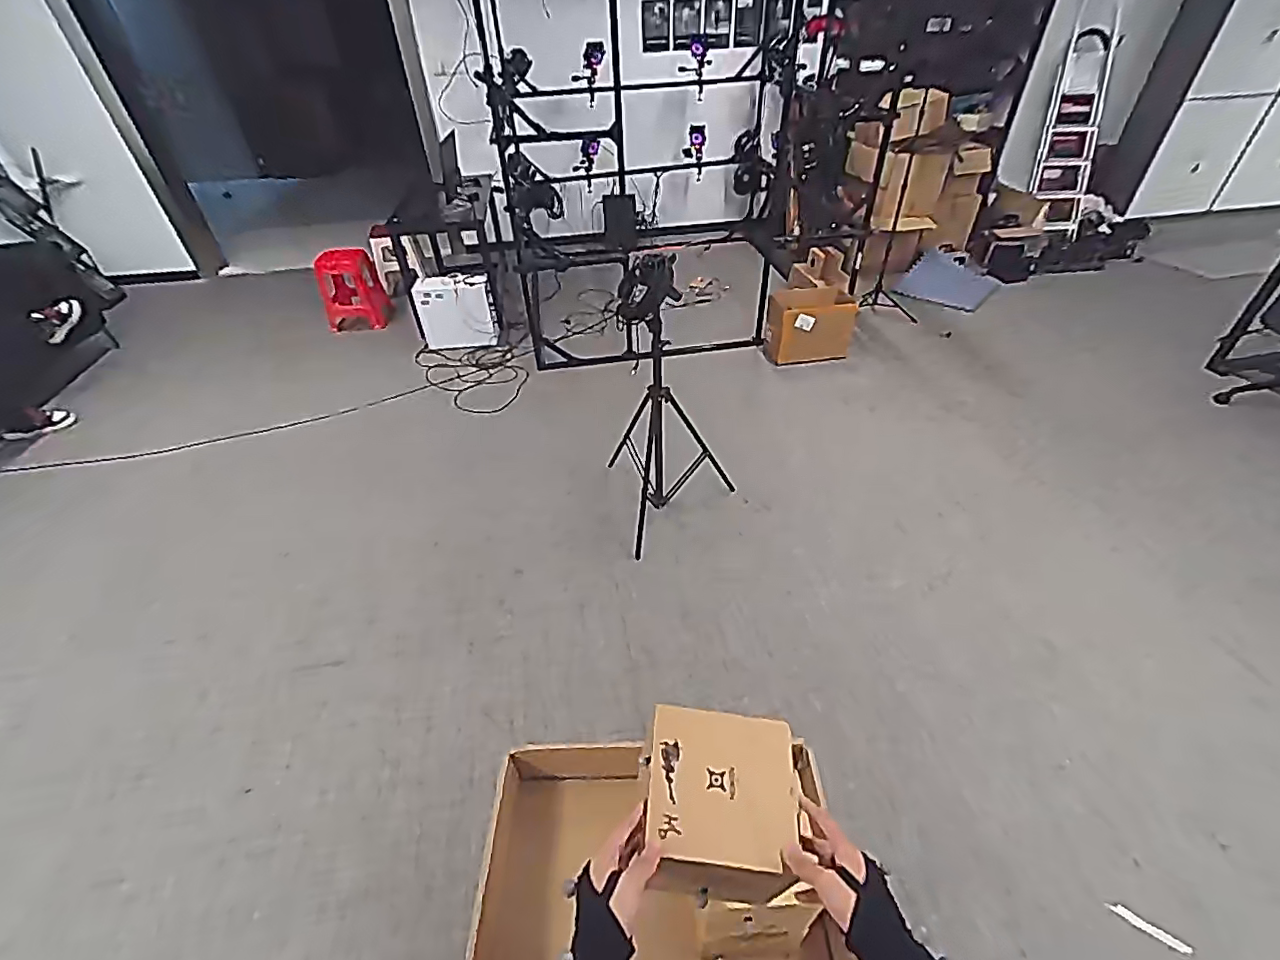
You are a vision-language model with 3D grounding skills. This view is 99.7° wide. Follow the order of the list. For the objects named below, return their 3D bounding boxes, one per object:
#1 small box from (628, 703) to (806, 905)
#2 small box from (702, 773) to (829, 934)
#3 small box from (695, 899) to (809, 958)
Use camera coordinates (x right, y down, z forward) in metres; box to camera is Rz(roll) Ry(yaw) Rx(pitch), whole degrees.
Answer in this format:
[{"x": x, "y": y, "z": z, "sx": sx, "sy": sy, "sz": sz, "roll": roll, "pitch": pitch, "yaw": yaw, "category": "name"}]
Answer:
[{"x": 0.088, "y": 0.405, "z": 0.673, "sx": 0.179, "sy": 0.176, "sz": 0.168, "roll": 9, "pitch": 43, "yaw": 0, "category": "small box"}, {"x": 0.174, "y": 0.575, "z": 0.834, "sx": 0.168, "sy": 0.176, "sz": 0.179, "roll": -3, "pitch": 39, "yaw": -1, "category": "small box"}, {"x": 0.179, "y": 0.701, "z": 0.937, "sx": 0.168, "sy": 0.176, "sz": 0.179, "roll": -4, "pitch": 39, "yaw": -1, "category": "small box"}]
